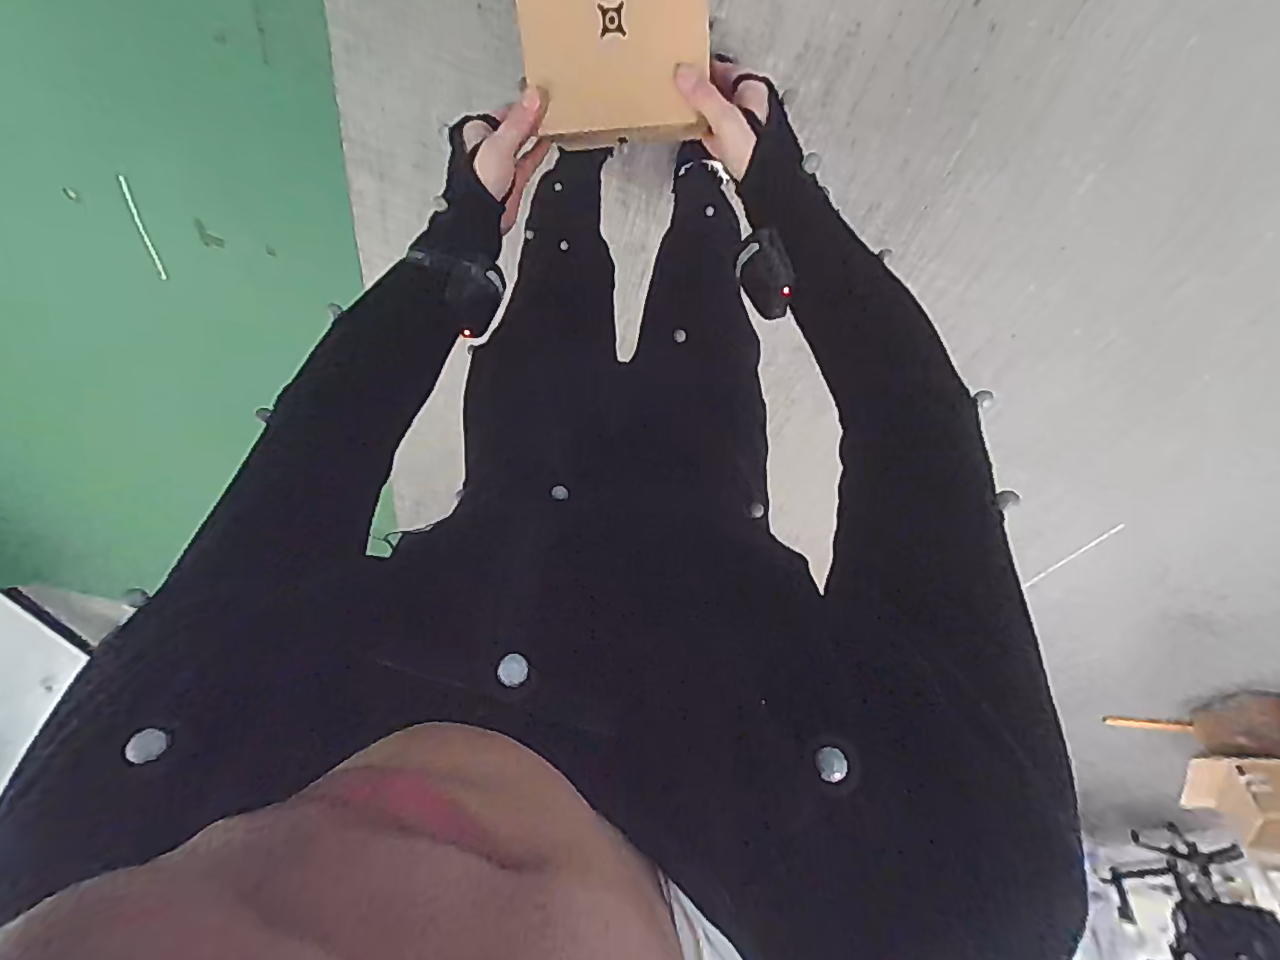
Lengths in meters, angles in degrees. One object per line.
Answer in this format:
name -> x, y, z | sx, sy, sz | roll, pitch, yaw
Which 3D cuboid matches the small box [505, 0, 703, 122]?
small box -> -0.025, -0.442, 0.503 | 0.168, 0.176, 0.179 | 0, 119, 3
